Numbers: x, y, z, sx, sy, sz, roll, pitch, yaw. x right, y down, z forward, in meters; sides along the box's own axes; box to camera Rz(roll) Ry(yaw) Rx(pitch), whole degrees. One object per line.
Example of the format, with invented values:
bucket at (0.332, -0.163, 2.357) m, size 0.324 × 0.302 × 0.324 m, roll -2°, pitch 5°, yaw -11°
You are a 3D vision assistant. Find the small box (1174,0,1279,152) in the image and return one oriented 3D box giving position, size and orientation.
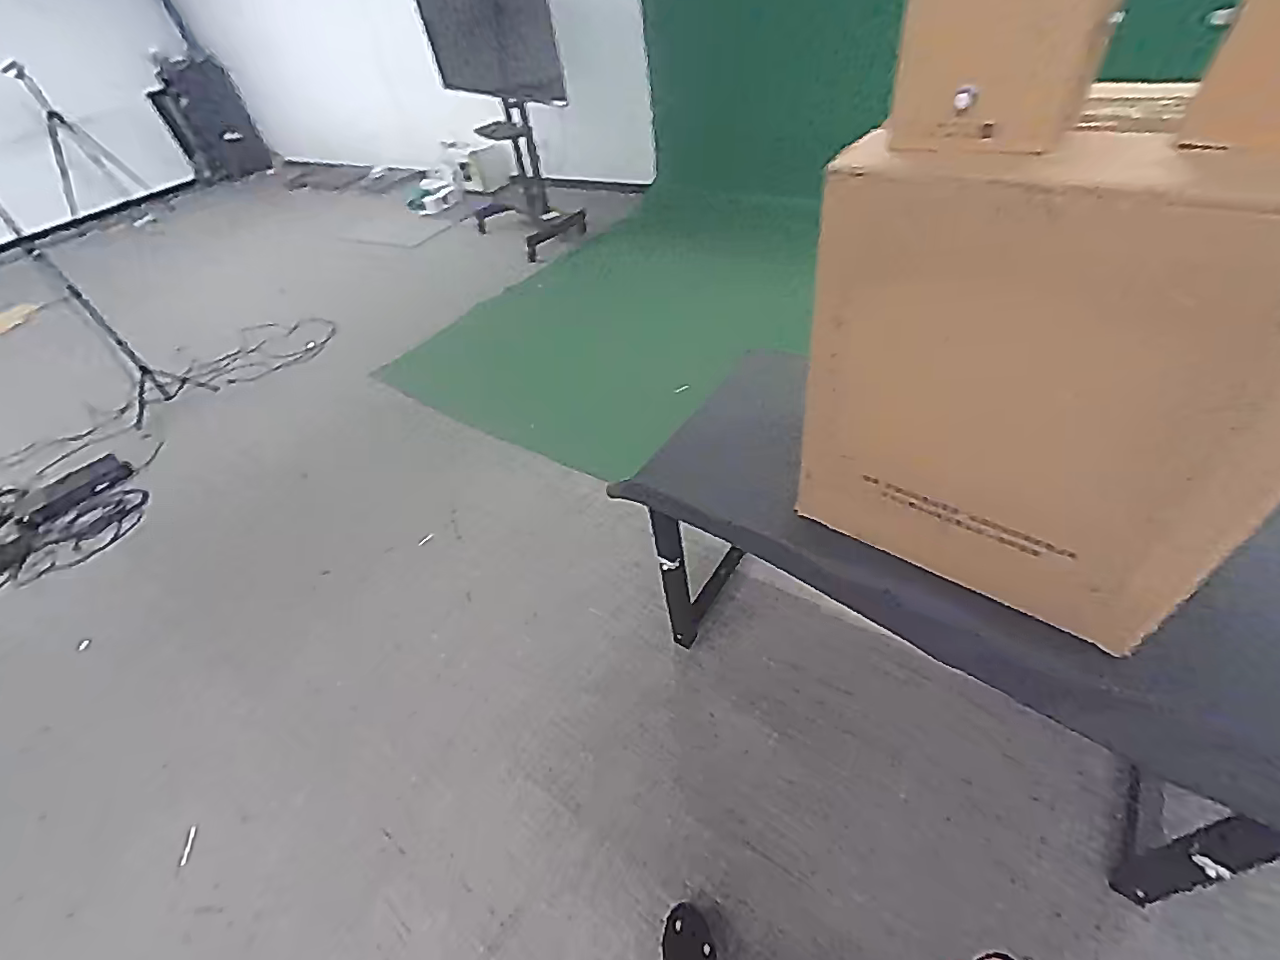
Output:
small box at (0.620, -0.393, 0.464) m, size 0.179 × 0.176 × 0.168 m, roll 27°, pitch 58°, yaw 30°

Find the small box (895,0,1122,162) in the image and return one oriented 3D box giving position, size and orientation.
small box at (0.400, -0.473, 0.590) m, size 0.168 × 0.176 × 0.179 m, roll 25°, pitch 57°, yaw 33°
